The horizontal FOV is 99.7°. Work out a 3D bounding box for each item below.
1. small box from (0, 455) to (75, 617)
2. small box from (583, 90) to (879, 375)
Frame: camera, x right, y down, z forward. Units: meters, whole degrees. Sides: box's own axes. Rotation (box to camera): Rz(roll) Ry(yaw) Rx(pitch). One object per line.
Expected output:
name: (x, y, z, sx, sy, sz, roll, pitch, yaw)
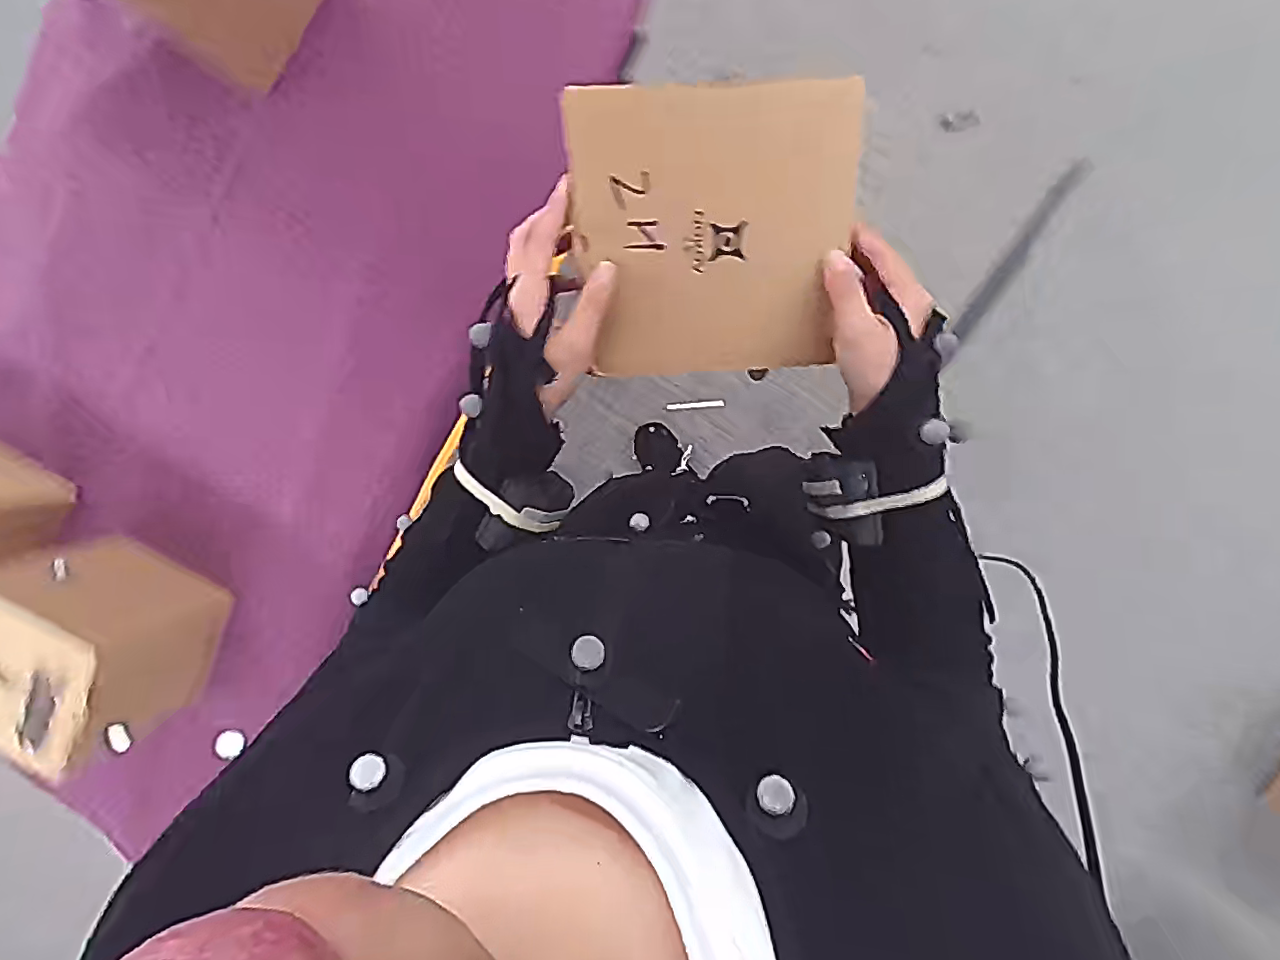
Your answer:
small box: (-0.845, 0.068, 0.642, 0.168, 0.176, 0.179, 29, 99, 1)
small box: (0.050, -0.181, 0.415, 0.179, 0.176, 0.168, -2, 113, -1)
